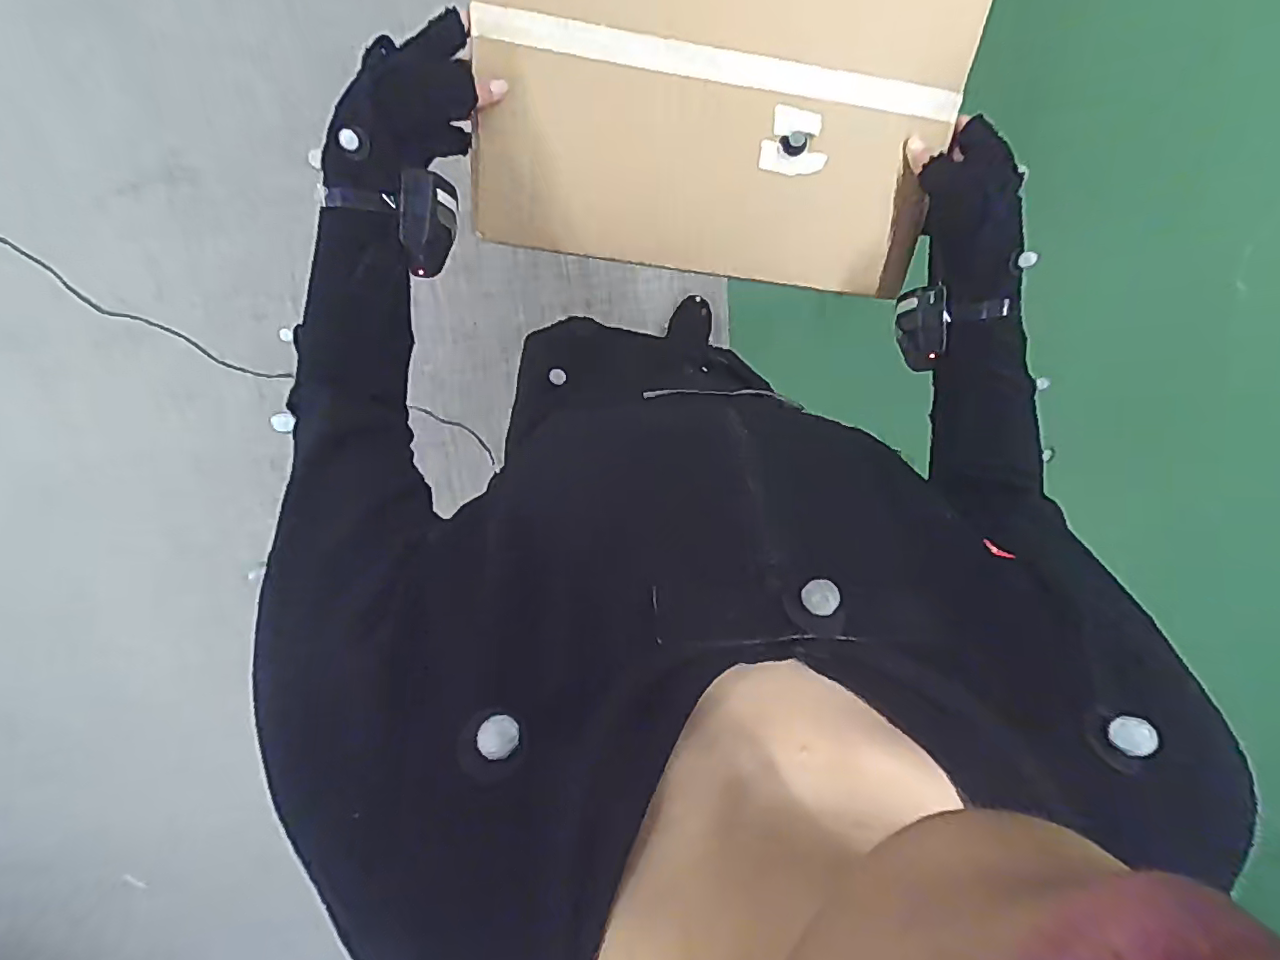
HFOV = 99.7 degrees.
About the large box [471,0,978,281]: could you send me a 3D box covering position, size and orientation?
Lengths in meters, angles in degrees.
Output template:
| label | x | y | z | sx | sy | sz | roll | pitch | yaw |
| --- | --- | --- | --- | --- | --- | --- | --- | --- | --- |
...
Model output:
| label | x | y | z | sx | sy | sz | roll | pitch | yaw |
| --- | --- | --- | --- | --- | --- | --- | --- | --- | --- |
| large box | 0.053 | -0.404 | 0.571 | 0.408 | 0.320 | 0.320 | 5 | 114 | -7 |
